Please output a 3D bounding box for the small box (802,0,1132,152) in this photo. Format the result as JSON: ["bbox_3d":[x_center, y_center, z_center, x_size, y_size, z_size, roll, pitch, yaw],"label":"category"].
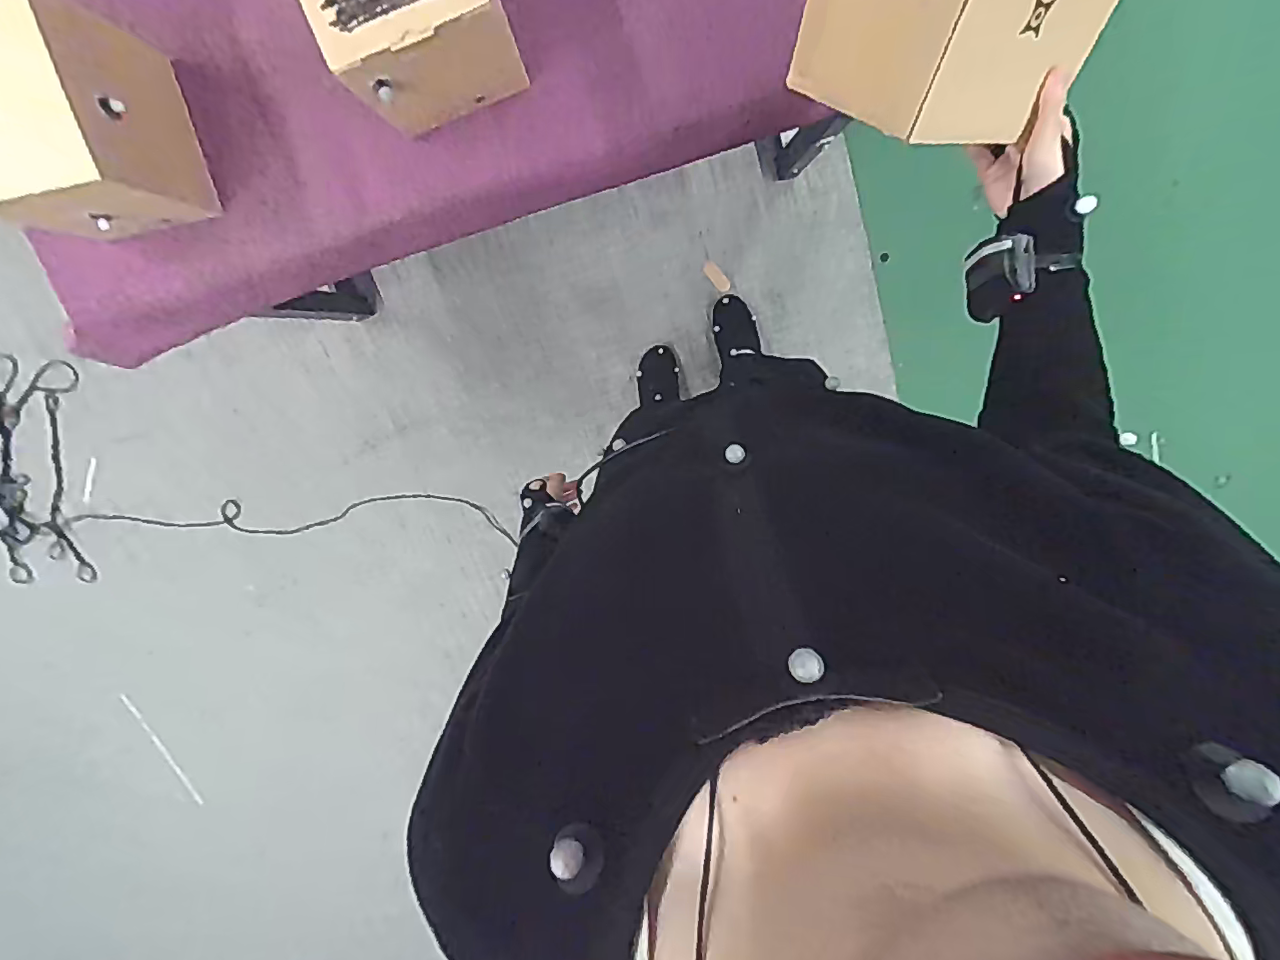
[{"bbox_3d":[0.260,-0.390,0.437,0.168,0.176,0.179,-15,140,-22],"label":"small box"}]

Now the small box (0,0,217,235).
[{"bbox_3d":[-0.611,-0.374,0.579,0.168,0.176,0.179,-10,105,2],"label":"small box"}]
